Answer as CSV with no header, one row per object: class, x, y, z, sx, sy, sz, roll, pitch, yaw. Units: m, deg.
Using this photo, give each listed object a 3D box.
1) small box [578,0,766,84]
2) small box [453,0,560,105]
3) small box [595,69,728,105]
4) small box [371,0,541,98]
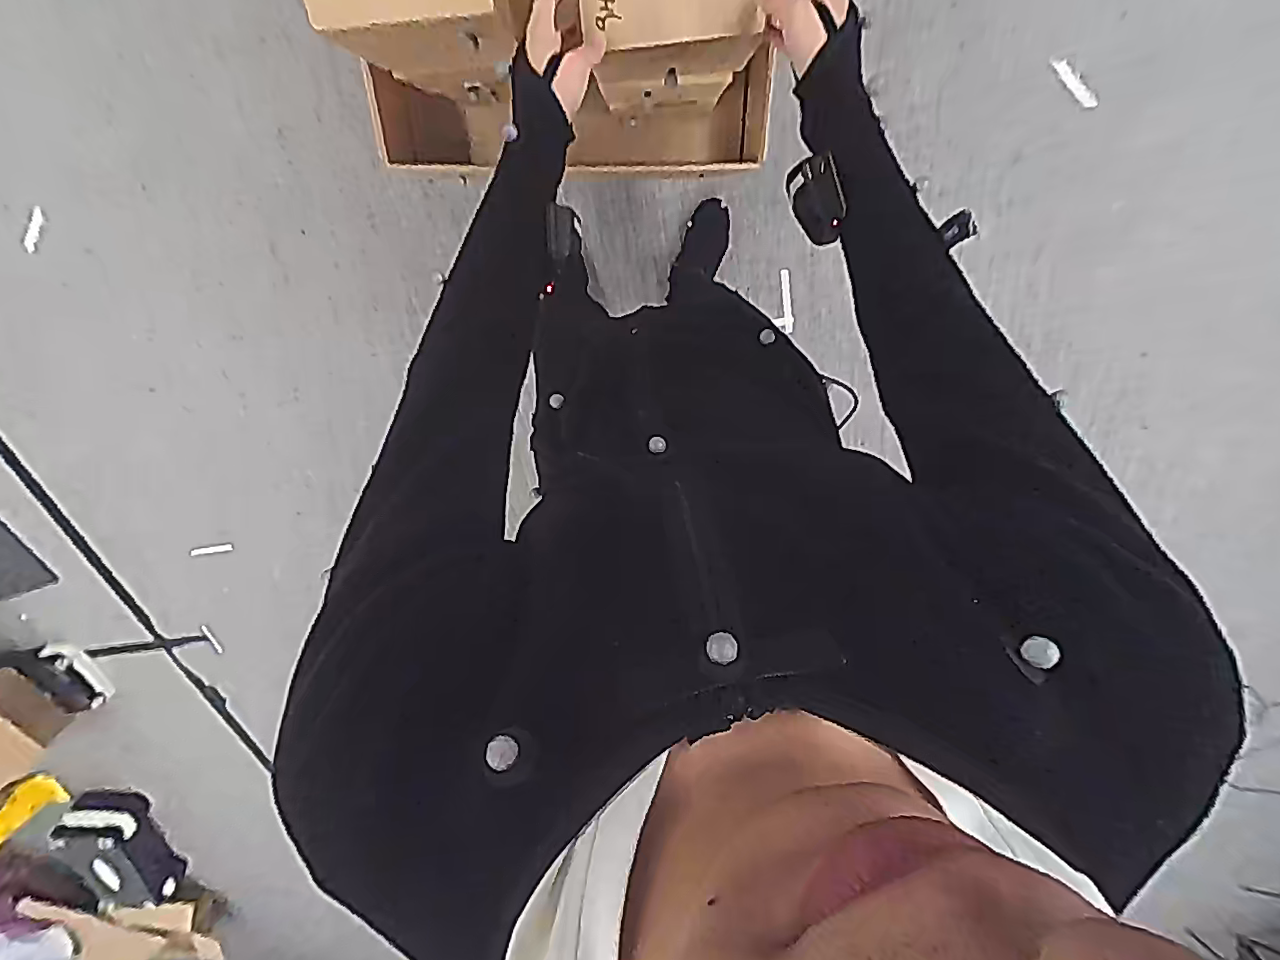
small box,0.026,-0.519,0.546,0.179,0.176,0.168,-4,117,2
small box,-0.225,-0.684,0.823,0.179,0.176,0.168,-4,119,-1
small box,0.026,-0.594,0.692,0.168,0.176,0.179,-2,118,2
small box,-0.229,-0.606,0.678,0.168,0.176,0.179,-5,118,3
